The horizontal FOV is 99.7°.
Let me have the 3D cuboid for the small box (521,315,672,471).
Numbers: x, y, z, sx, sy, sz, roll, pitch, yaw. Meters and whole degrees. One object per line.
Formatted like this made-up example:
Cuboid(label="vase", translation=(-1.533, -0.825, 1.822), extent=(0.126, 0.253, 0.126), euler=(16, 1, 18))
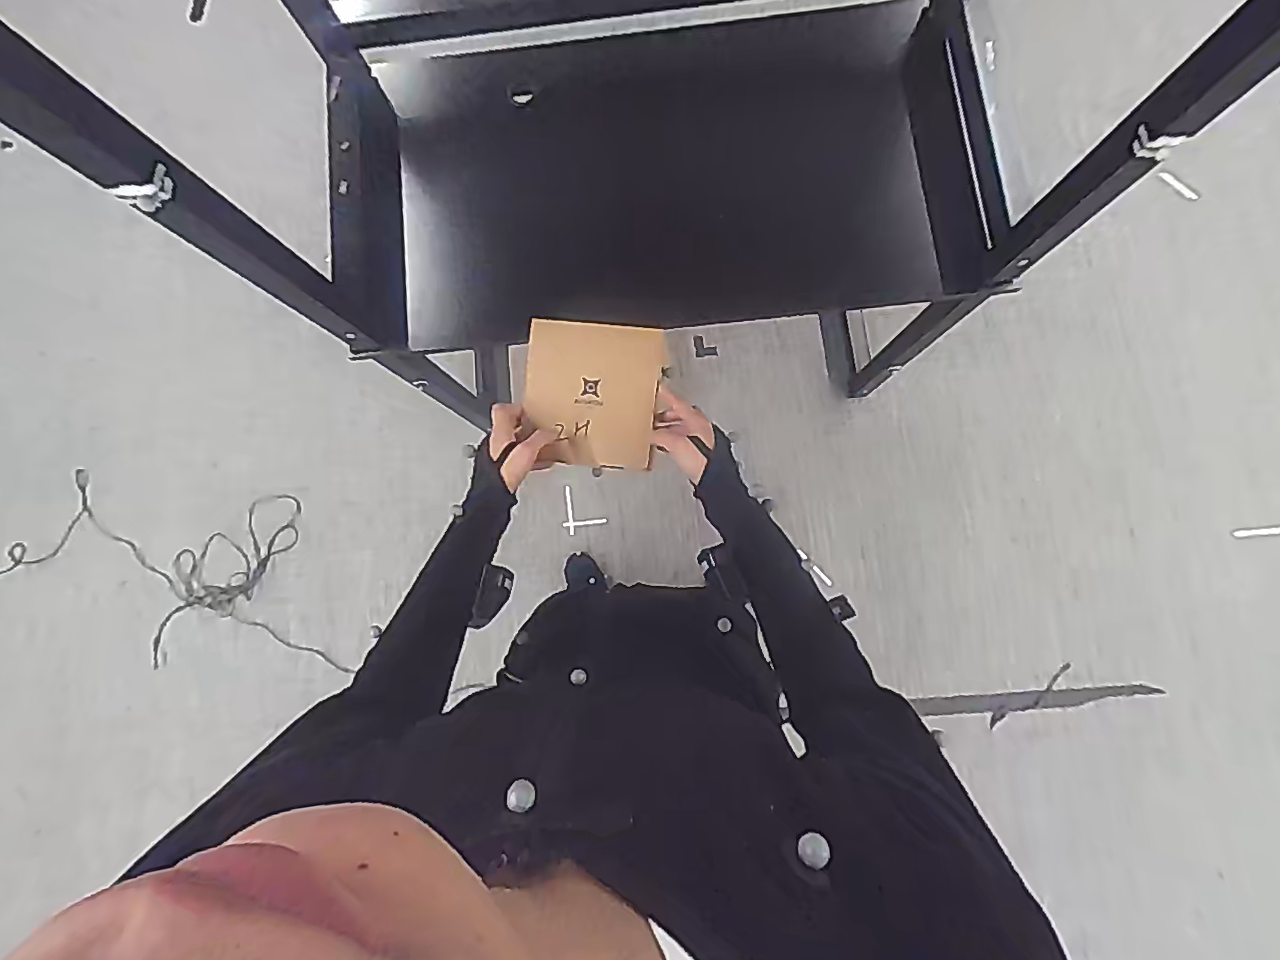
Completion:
Cuboid(label="small box", translation=(-0.049, -0.108, 0.736), extent=(0.168, 0.176, 0.179), euler=(7, 92, 7))
